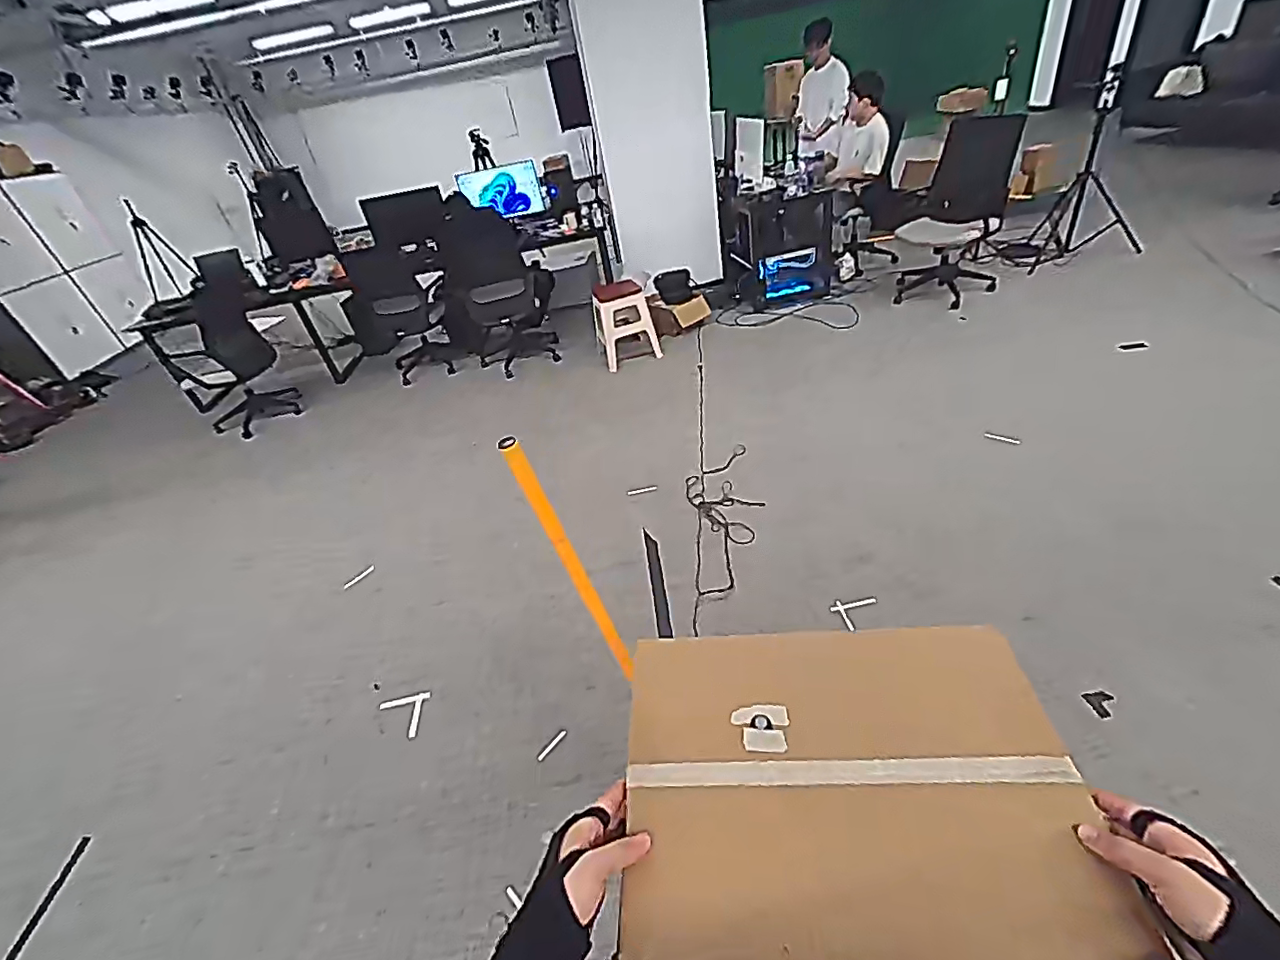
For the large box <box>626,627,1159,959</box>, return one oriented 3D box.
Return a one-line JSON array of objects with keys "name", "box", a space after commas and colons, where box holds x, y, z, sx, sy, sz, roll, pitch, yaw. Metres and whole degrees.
[{"name": "large box", "box": [0.215, 0.397, 0.615, 0.408, 0.320, 0.320, -6, 39, 8]}]
